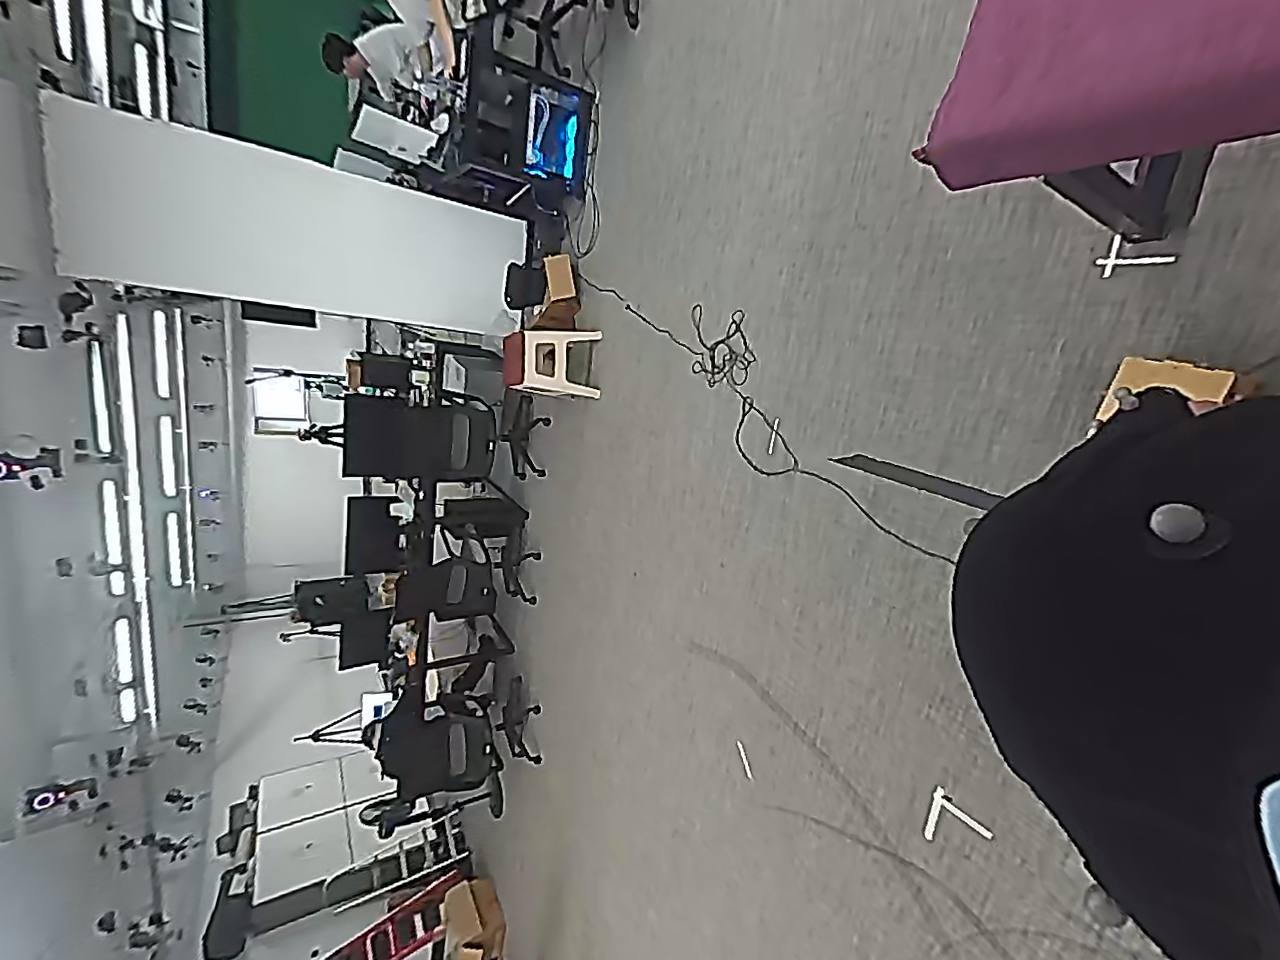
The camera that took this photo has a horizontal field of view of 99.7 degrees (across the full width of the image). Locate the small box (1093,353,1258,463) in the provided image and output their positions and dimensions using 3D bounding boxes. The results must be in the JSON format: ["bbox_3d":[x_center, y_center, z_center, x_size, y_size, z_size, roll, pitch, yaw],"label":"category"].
[{"bbox_3d":[1.059,-0.142,1.069,0.168,0.176,0.179,35,120,51],"label":"small box"}]
